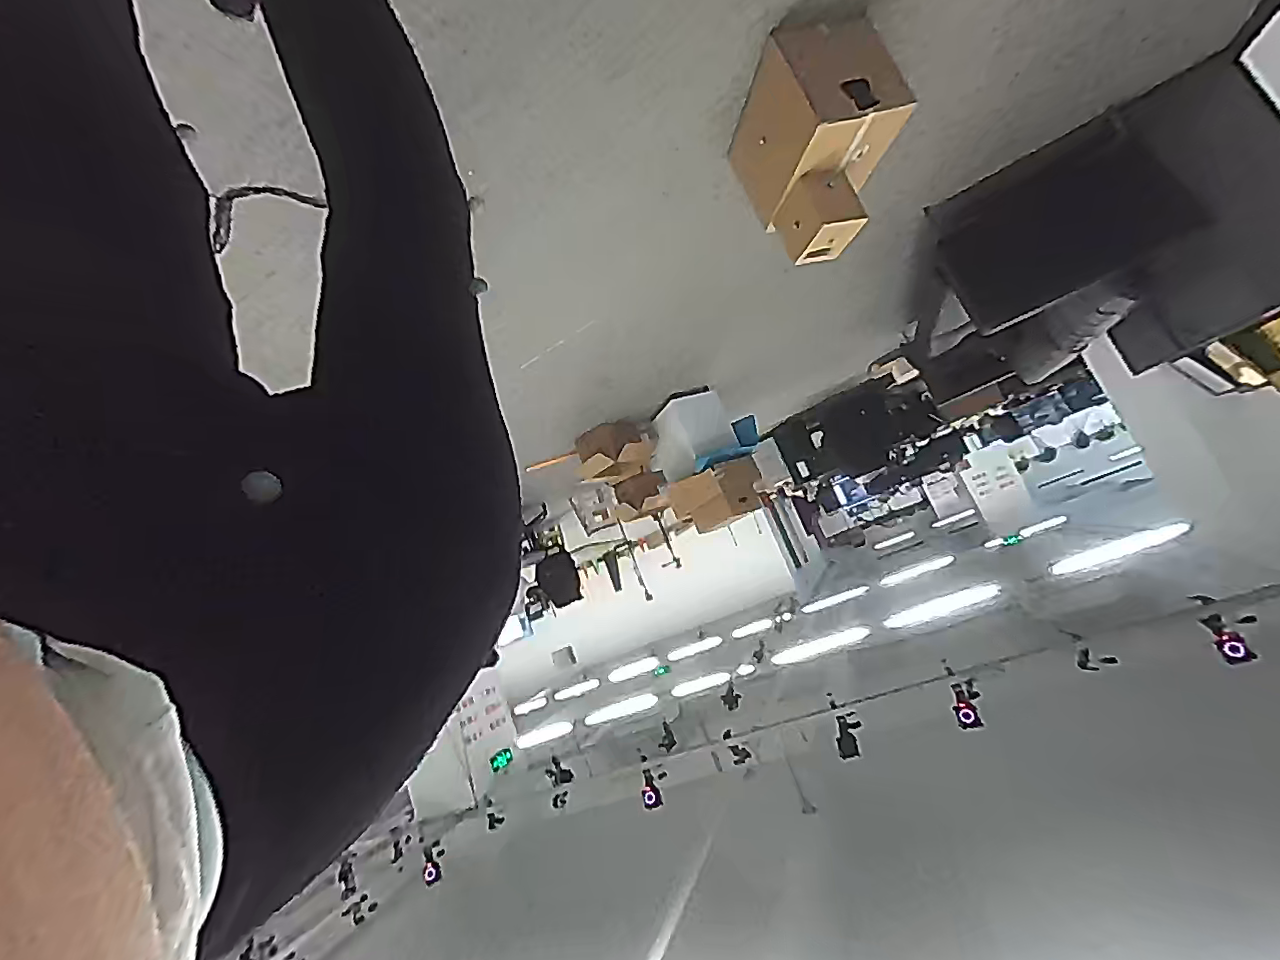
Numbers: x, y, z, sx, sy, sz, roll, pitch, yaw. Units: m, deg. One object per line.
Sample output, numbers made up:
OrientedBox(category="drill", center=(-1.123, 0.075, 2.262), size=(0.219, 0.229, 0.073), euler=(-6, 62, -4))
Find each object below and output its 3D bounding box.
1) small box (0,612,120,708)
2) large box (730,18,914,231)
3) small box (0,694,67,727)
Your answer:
OrientedBox(category="small box", center=(-1.471, 0.448, 1.365), size=(0.179, 0.176, 0.168), euler=(-25, 169, 22))
OrientedBox(category="large box", center=(0.506, -1.032, 1.605), size=(0.320, 0.320, 0.408), euler=(-21, 168, -12))
OrientedBox(category="small box", center=(-1.718, 0.567, 1.463), size=(0.168, 0.176, 0.179), euler=(-26, 167, 19))
